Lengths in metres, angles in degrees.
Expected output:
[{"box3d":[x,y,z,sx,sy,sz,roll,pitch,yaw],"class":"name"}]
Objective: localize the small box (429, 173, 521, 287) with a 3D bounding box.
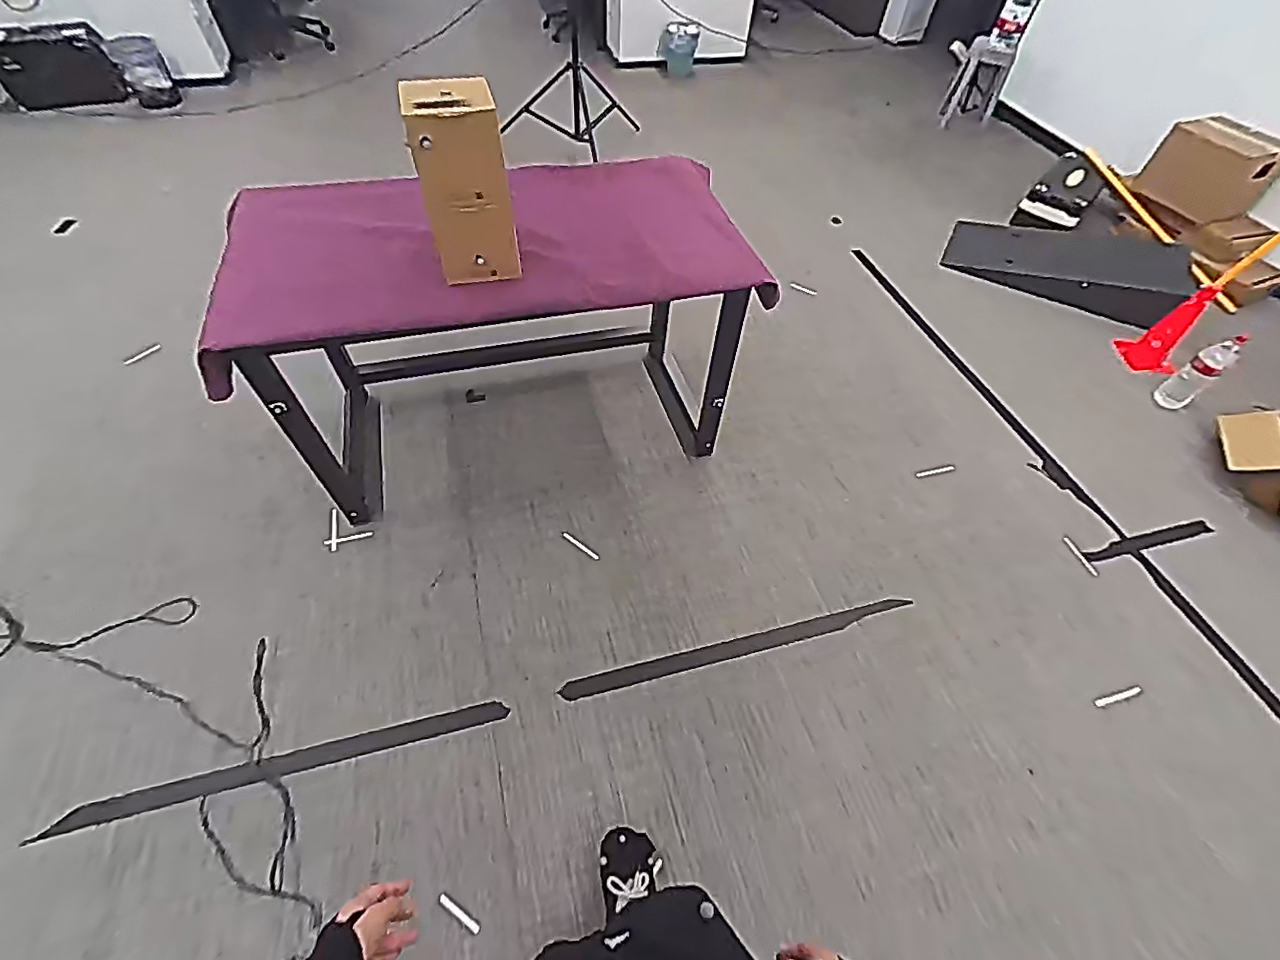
[{"box3d":[-0.364,-0.555,1.204,0.168,0.176,0.179,-10,54,-10],"class":"small box"}]
